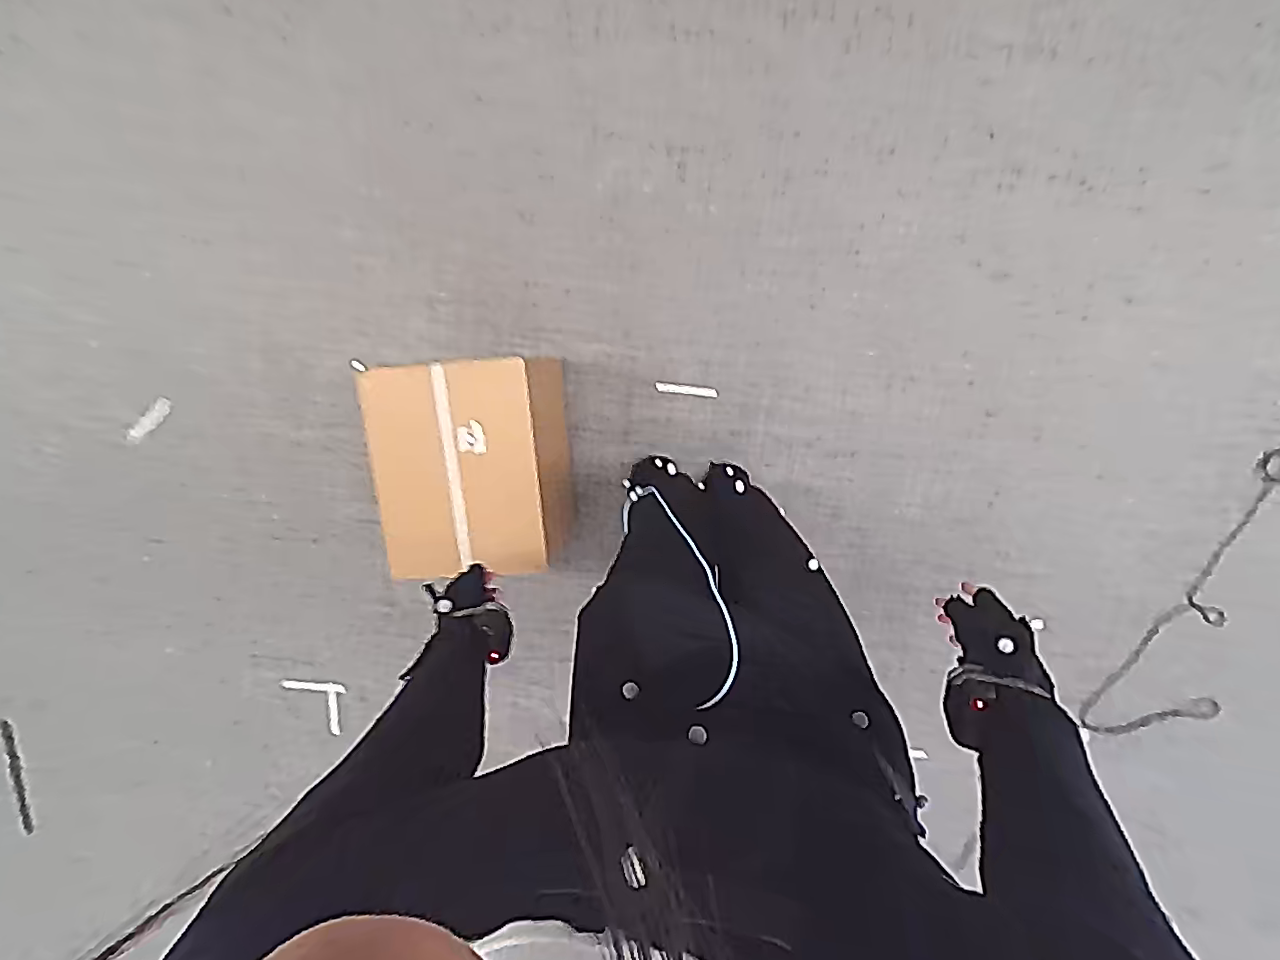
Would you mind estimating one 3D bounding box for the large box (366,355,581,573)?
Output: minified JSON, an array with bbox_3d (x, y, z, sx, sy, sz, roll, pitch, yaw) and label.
[{"bbox_3d":[-0.323,-0.047,1.159,0.320,0.320,0.408,-4,101,4],"label":"large box"}]
